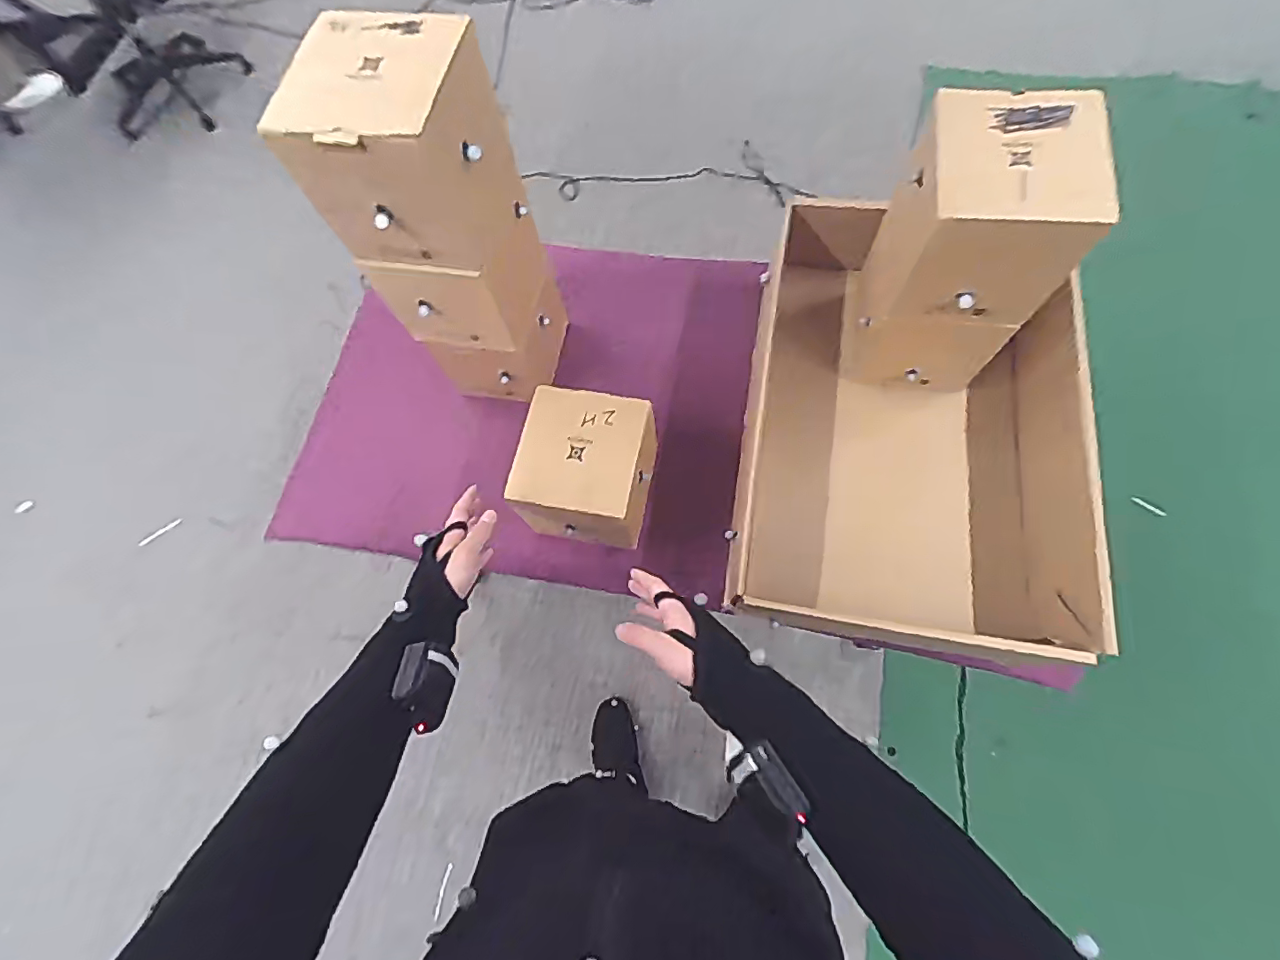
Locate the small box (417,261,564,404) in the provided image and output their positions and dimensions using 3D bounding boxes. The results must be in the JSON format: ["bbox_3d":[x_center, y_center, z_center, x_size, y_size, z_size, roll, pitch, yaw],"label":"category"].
[{"bbox_3d":[-0.235,-0.245,0.903,0.168,0.176,0.179,9,70,7],"label":"small box"}]

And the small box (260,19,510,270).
[{"bbox_3d":[-0.259,-0.359,0.599,0.168,0.176,0.179,8,71,6],"label":"small box"}]

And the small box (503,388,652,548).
[{"bbox_3d":[-0.079,-0.009,0.798,0.168,0.176,0.179,10,70,8],"label":"small box"}]

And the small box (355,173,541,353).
[{"bbox_3d":[-0.249,-0.298,0.751,0.168,0.176,0.179,8,70,7],"label":"small box"}]

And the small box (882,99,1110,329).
[{"bbox_3d":[0.396,-0.305,0.637,0.168,0.176,0.179,6,72,9],"label":"small box"}]
